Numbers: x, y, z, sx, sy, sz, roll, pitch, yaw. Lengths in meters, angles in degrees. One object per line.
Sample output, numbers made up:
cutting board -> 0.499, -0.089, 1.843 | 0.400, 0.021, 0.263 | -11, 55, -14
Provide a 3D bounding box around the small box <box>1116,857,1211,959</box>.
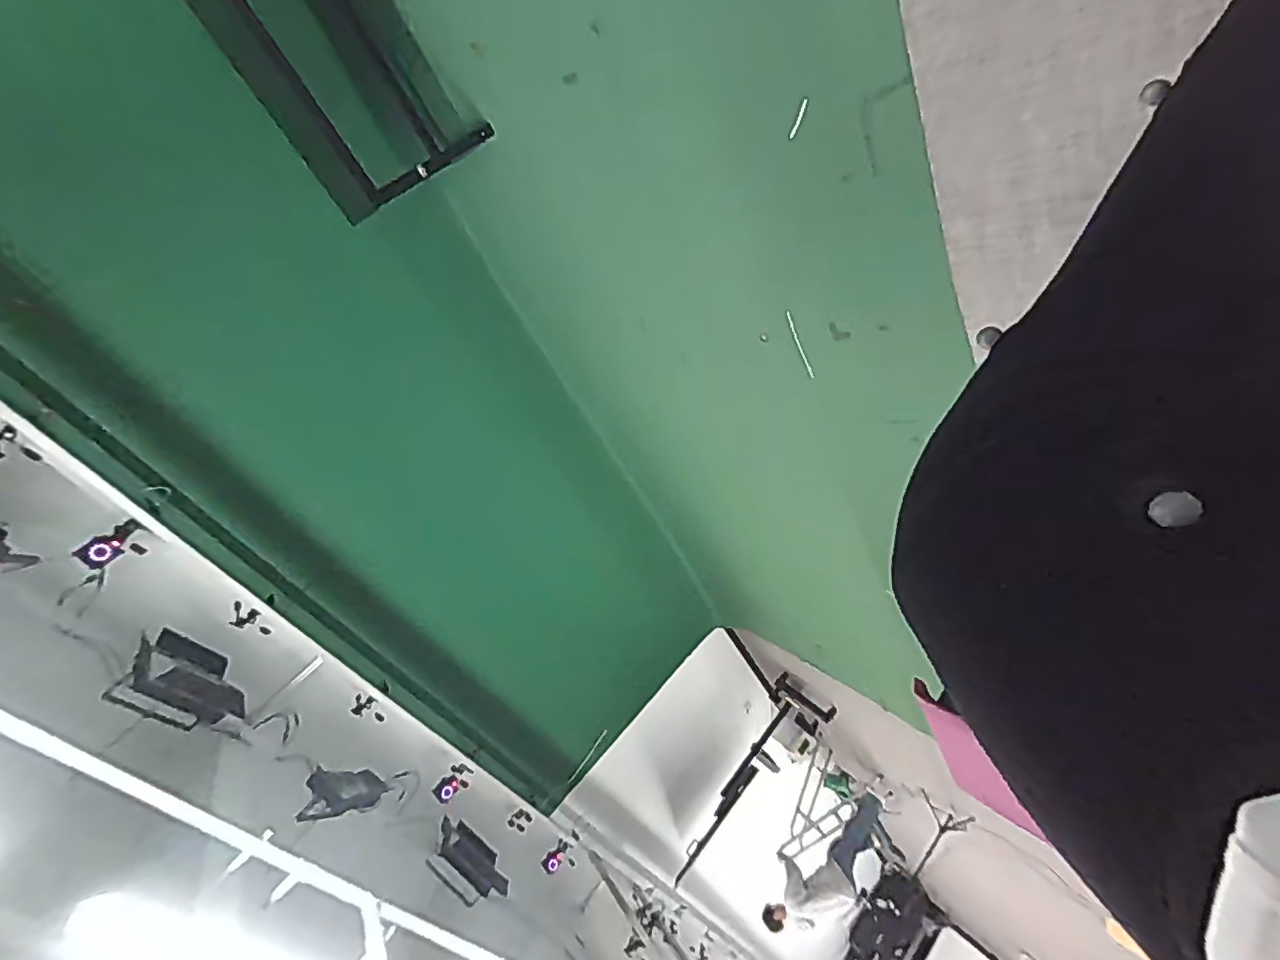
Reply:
small box -> 1.571, 1.290, 1.624 | 0.168, 0.176, 0.179 | 22, 149, 54
